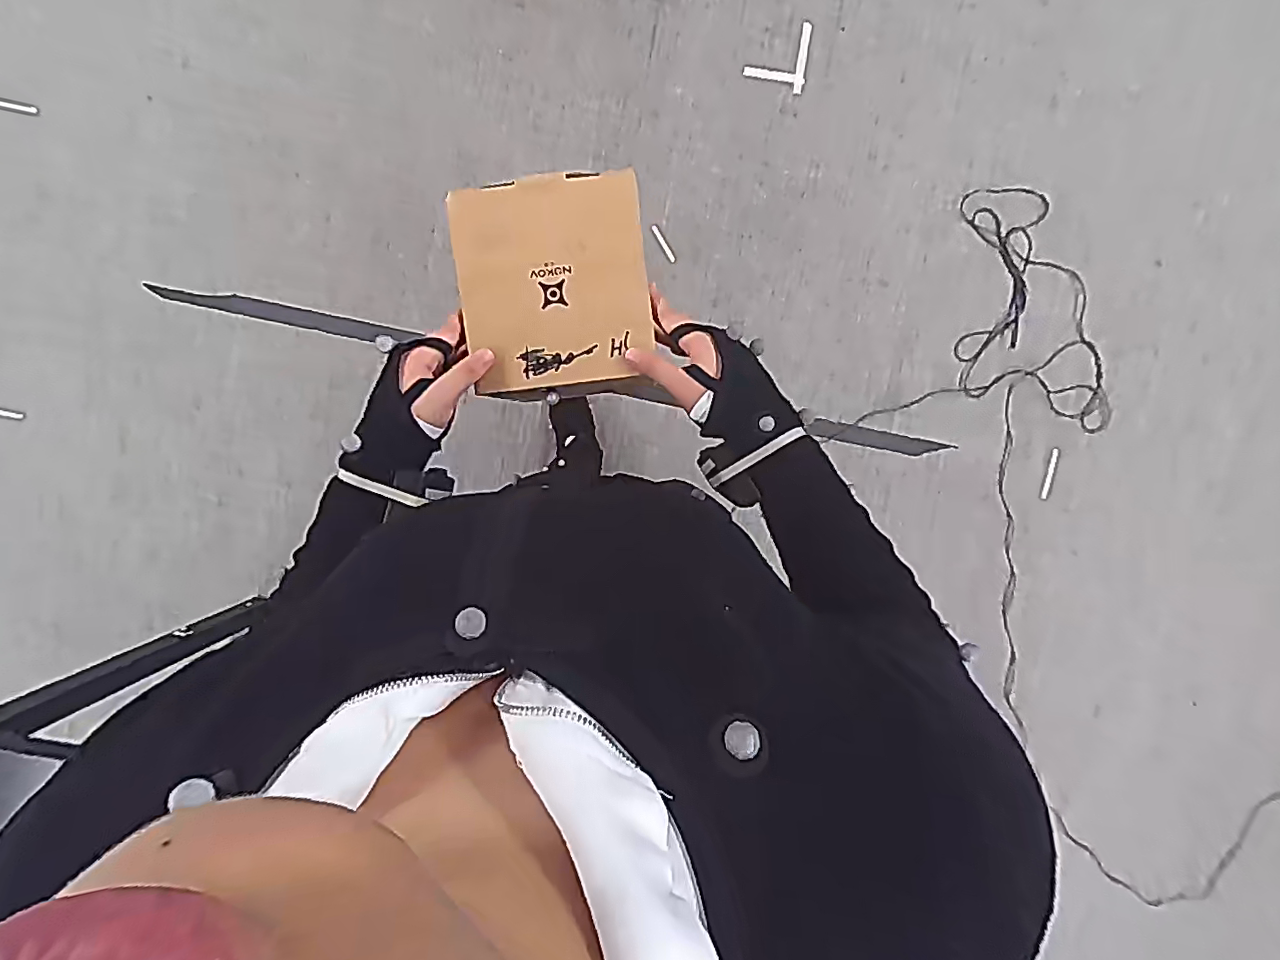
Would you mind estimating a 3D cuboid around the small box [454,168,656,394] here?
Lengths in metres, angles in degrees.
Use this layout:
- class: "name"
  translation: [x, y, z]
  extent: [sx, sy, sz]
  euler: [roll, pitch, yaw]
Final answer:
- class: "small box"
  translation: [-0.075, -0.187, 0.558]
  extent: [0.168, 0.176, 0.179]
  euler: [-6, 97, 1]

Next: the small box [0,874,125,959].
- class: "small box"
  translation: [-0.862, 0.682, 0.732]
  extent: [0.179, 0.176, 0.168]
  euler: [12, 95, 0]
